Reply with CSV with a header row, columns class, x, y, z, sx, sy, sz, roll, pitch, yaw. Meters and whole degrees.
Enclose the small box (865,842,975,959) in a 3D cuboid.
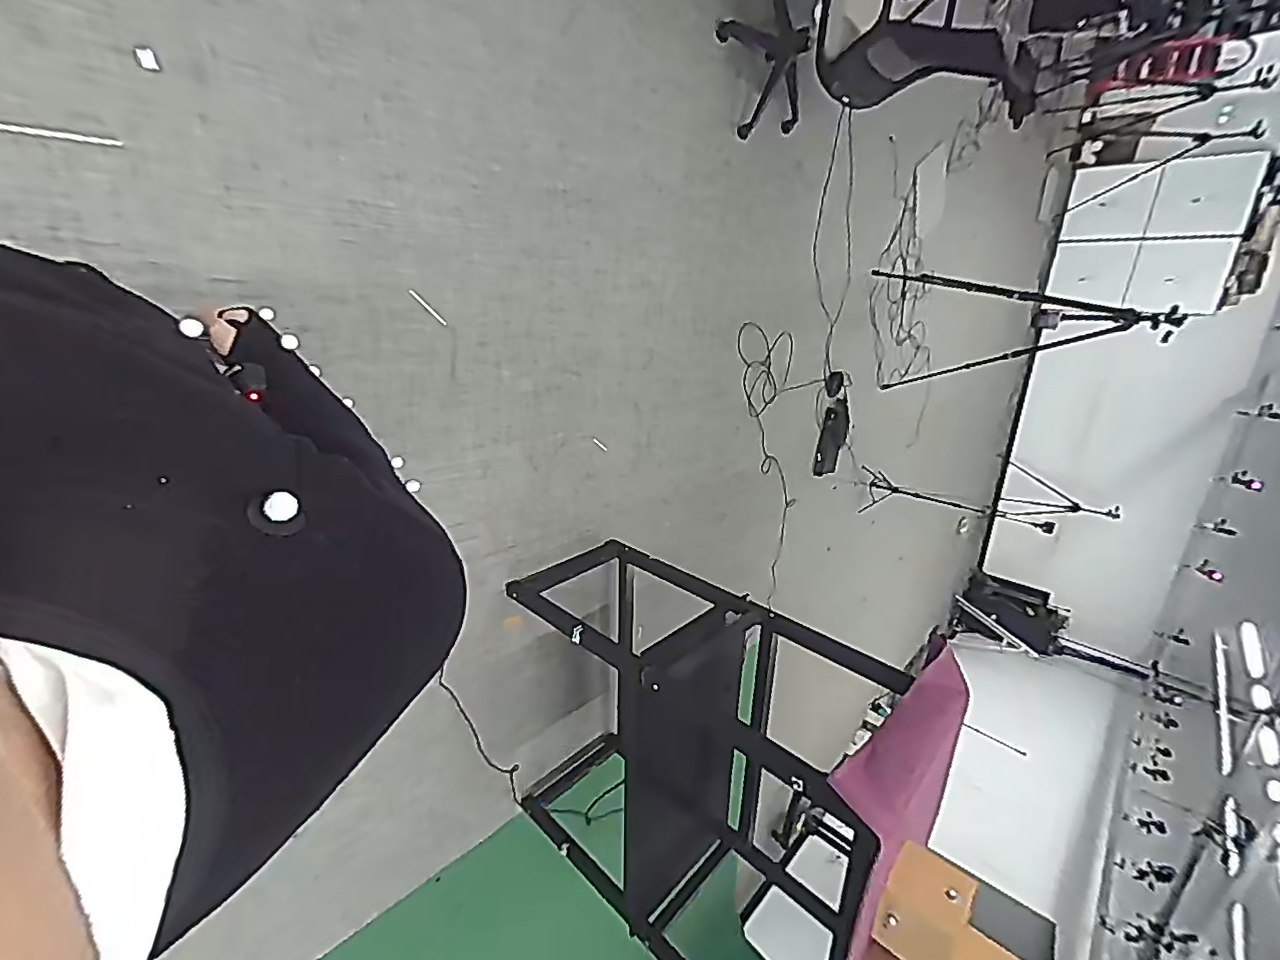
class,x,y,z,sx,sy,sz,roll,pitch,yaw
small box,0.655,1.008,1.270,0.179,0.176,0.168,-13,113,-45
